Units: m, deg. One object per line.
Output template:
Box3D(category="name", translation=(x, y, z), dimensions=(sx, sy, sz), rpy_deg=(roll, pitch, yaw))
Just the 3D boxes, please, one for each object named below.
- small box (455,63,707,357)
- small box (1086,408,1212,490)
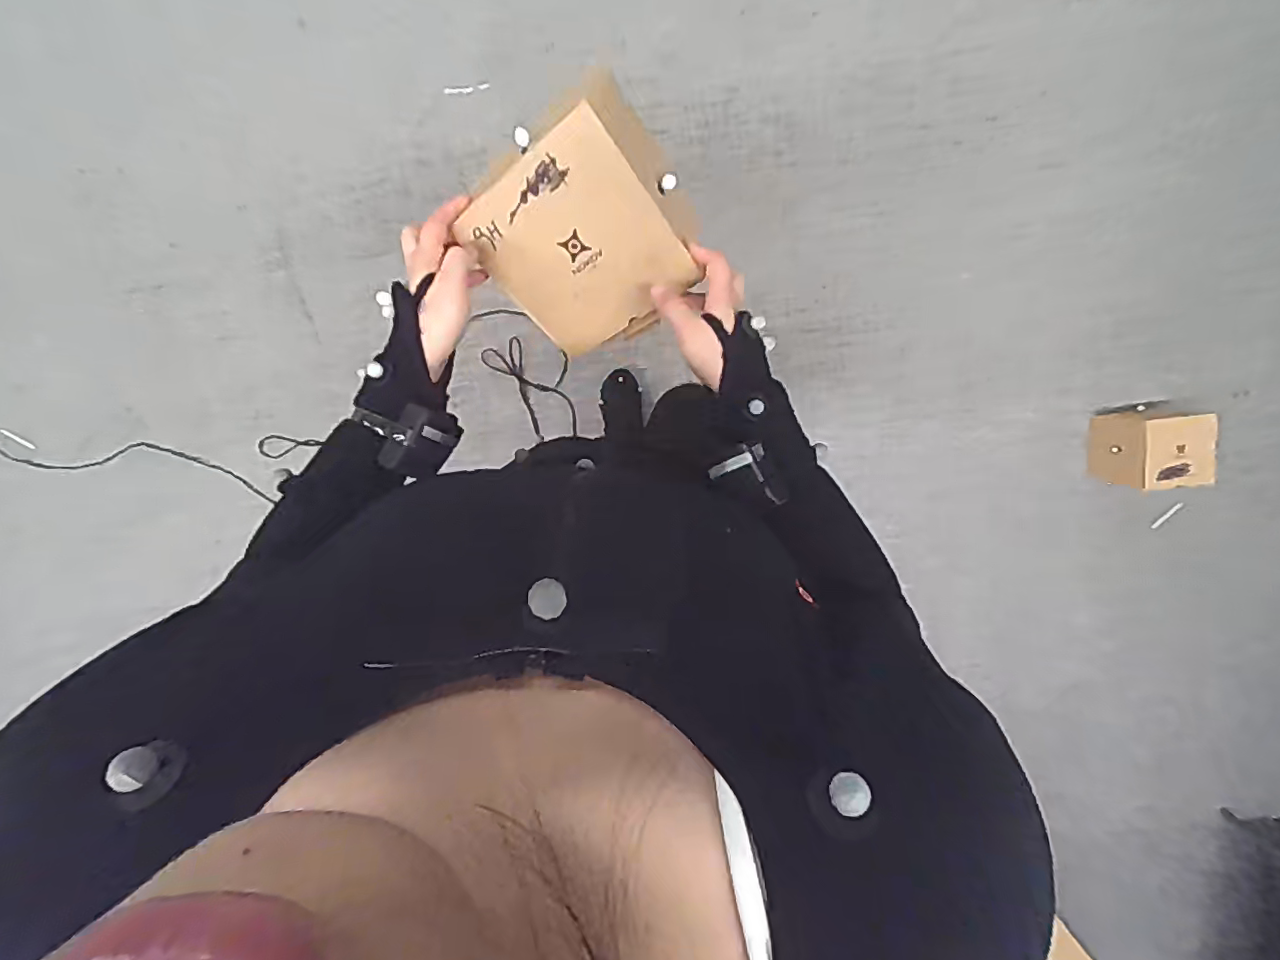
Box3D(category="small box", translation=(-0.048, -0.266, 0.545), dimensions=(0.168, 0.176, 0.179), rpy_deg=(-26, 132, 26))
Box3D(category="small box", translation=(1.286, -0.084, 1.379), dimensions=(0.168, 0.176, 0.179), rpy_deg=(-6, 101, 2))
